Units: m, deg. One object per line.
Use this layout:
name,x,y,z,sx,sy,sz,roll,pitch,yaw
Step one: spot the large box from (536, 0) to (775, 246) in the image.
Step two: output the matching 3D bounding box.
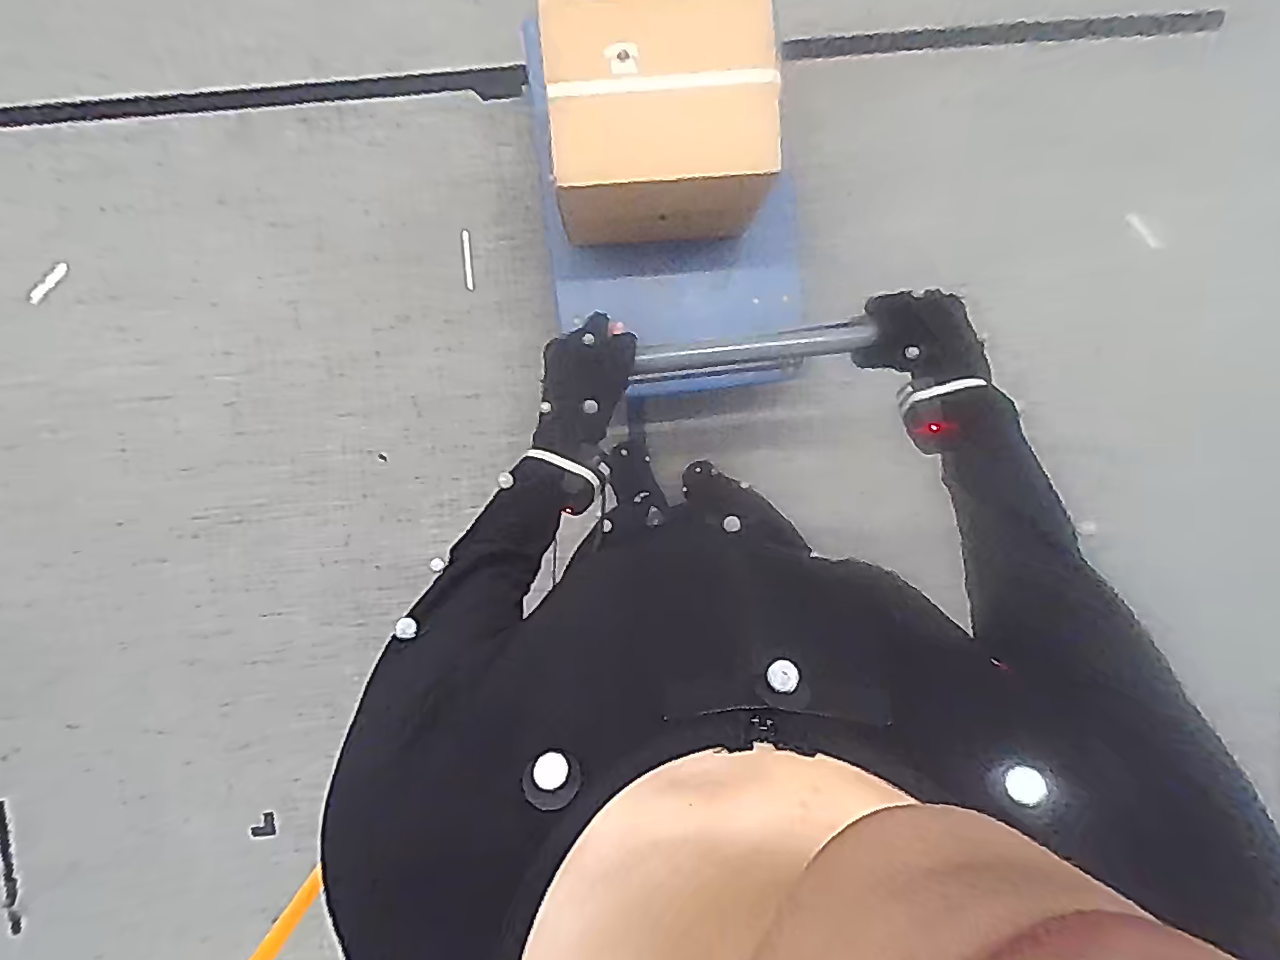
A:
large box,0.029,-0.695,1.095,0.408,0.320,0.320,-5,95,-1
